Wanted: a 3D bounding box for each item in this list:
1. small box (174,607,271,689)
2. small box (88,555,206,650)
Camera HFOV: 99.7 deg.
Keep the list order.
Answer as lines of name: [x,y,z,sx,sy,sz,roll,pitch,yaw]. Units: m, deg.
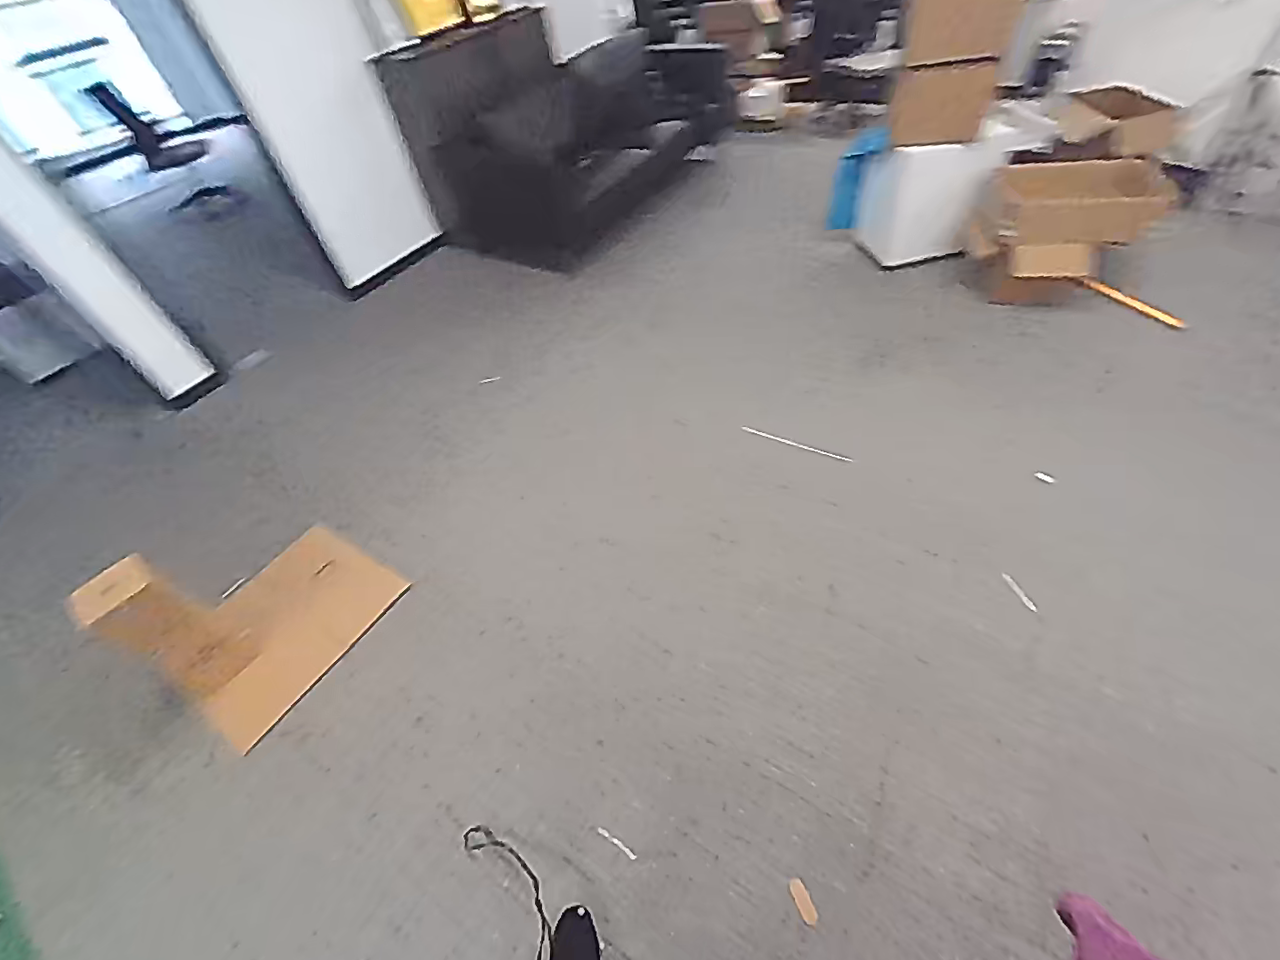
small box: [-1.412,0.575,1.836,0.168,0.176,0.179,27,58,30]
small box: [-1.441,0.363,1.588,0.168,0.176,0.179,29,59,30]
